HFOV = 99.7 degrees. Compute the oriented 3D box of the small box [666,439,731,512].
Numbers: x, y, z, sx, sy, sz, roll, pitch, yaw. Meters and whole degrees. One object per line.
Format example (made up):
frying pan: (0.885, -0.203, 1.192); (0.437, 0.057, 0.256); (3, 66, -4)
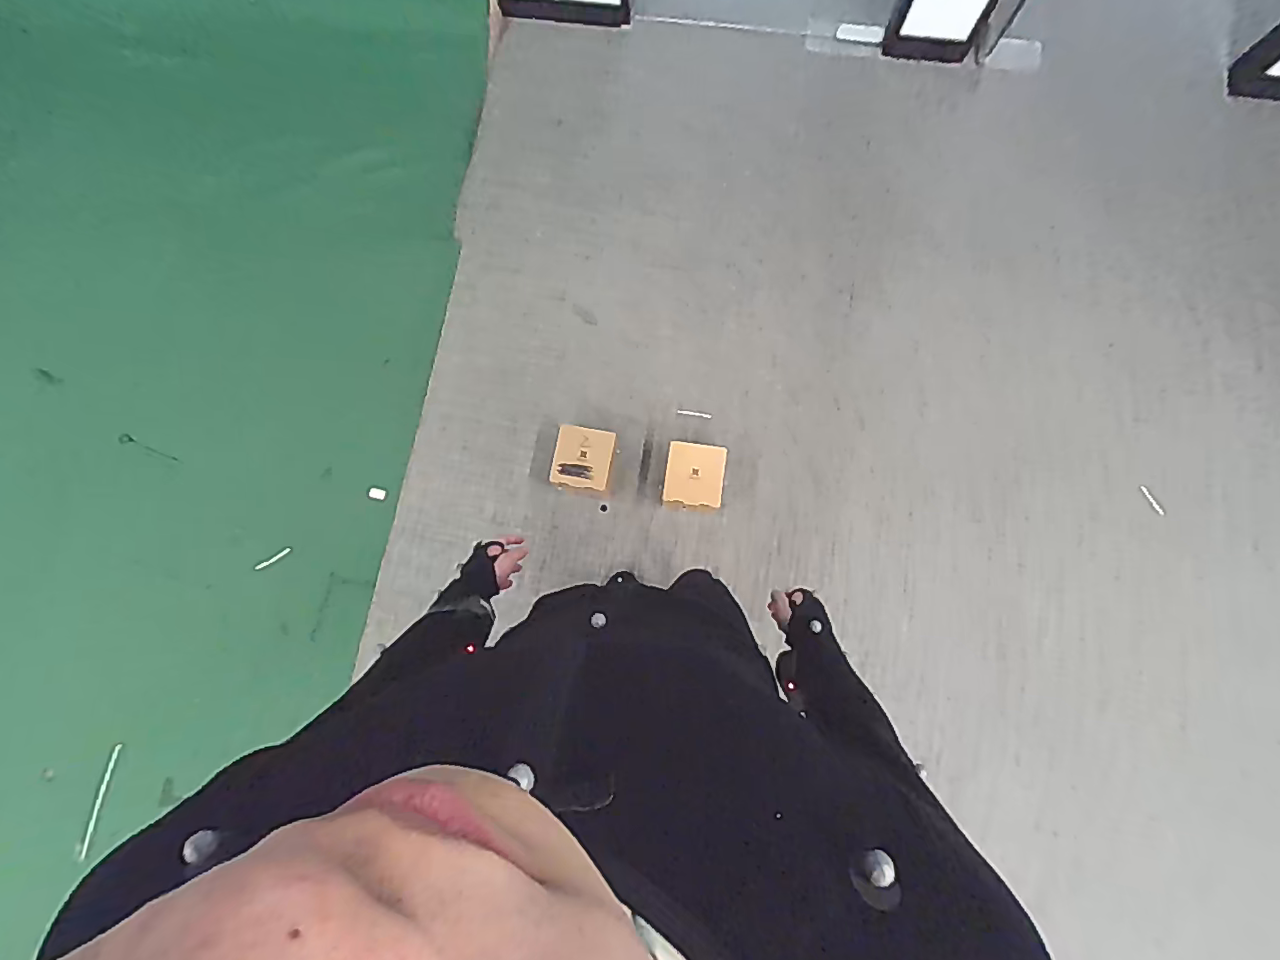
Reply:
small box: (0.169, -0.008, 1.612); (0.168, 0.176, 0.179); (8, 82, 4)
